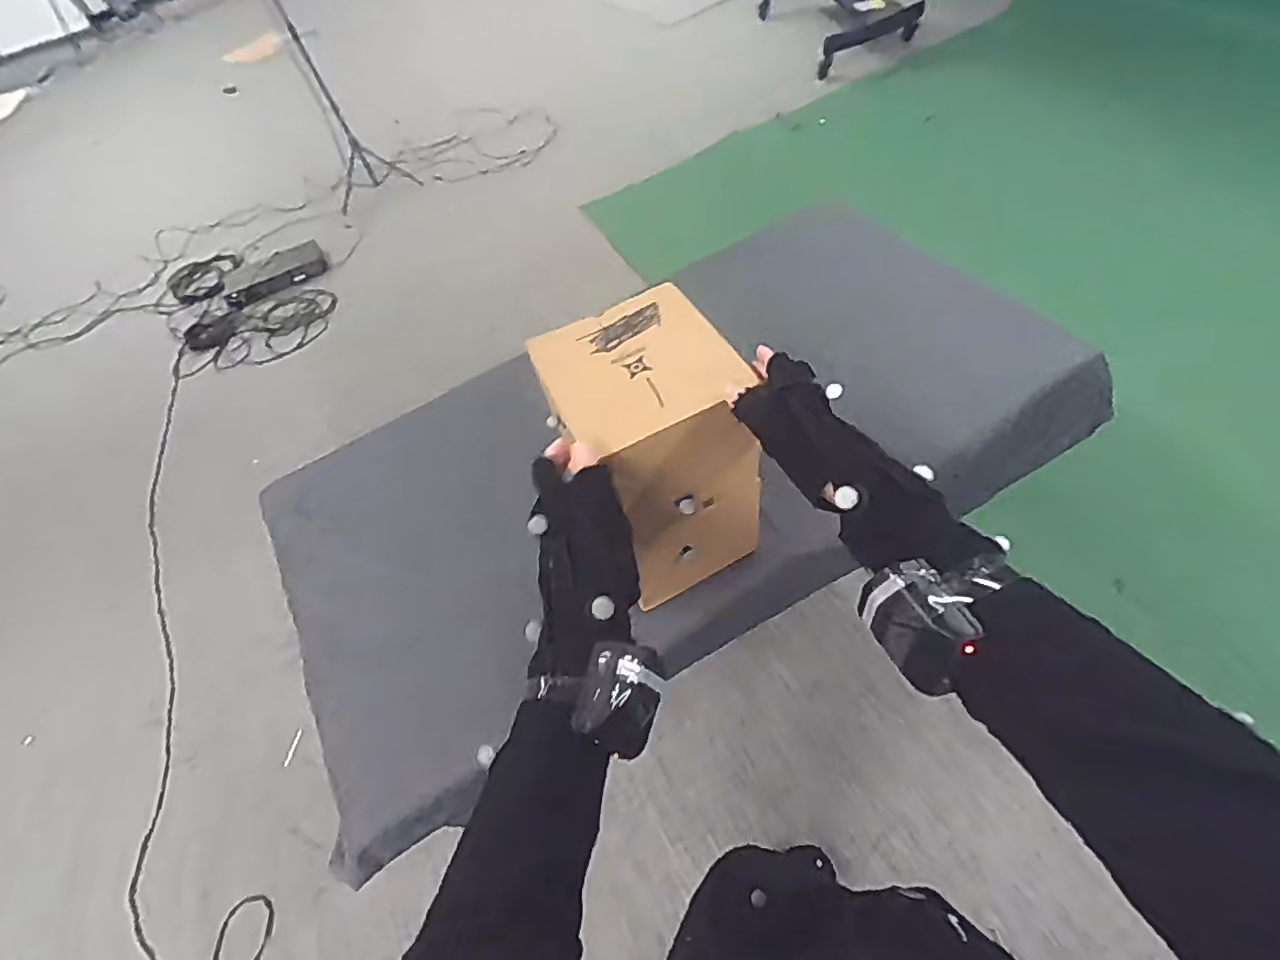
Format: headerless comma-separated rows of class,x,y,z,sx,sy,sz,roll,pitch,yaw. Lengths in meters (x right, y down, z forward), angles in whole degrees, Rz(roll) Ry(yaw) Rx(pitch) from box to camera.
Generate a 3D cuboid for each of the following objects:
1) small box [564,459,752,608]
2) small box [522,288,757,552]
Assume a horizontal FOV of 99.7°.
small box,0.031,0.036,0.692,0.179,0.176,0.168,-29,55,-8
small box,0.004,-0.059,0.560,0.168,0.176,0.179,-29,54,-9
